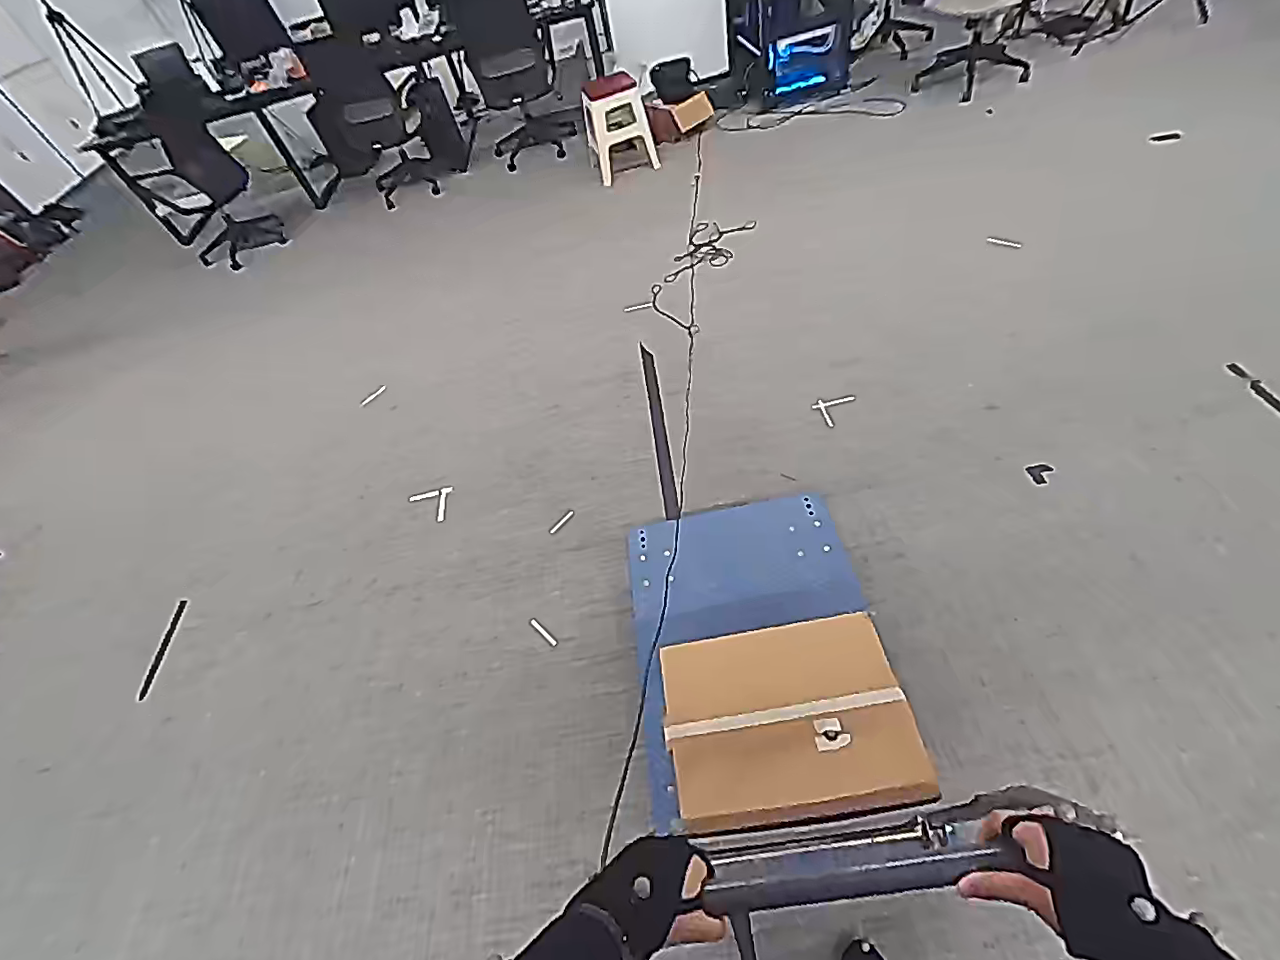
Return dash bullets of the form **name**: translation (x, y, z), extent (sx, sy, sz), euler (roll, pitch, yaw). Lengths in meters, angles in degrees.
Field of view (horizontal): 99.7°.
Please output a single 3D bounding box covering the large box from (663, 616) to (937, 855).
- **large box**: translation (0.282, 0.509, 1.061), extent (0.408, 0.320, 0.320), euler (-12, 51, 4)
